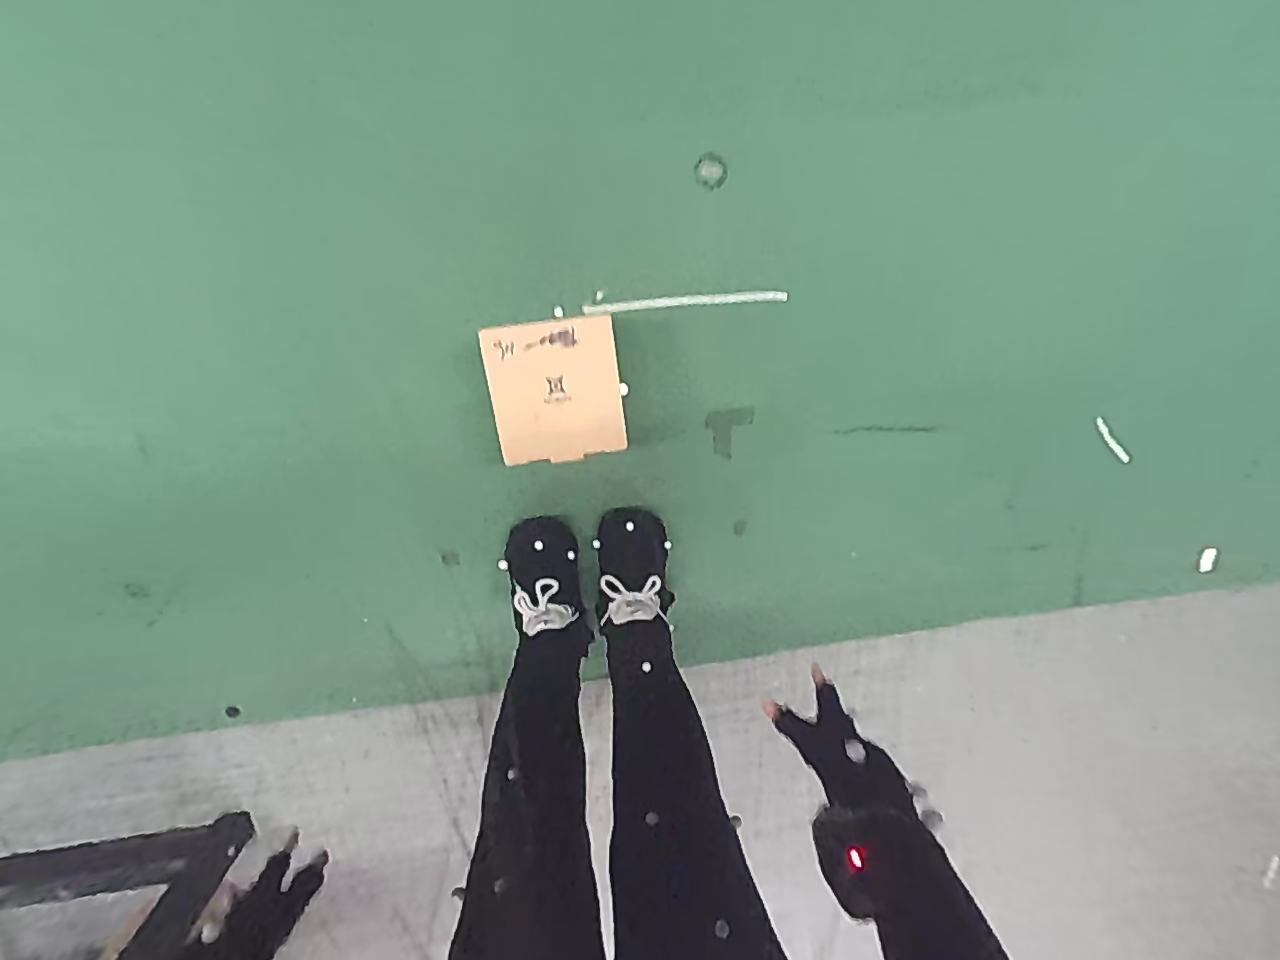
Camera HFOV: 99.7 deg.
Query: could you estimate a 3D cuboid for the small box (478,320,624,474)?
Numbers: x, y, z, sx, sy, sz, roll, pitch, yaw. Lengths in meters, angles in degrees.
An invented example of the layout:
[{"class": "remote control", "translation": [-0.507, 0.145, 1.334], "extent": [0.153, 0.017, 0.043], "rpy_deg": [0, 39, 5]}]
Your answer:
[{"class": "small box", "translation": [-0.115, -0.124, 0.758], "extent": [0.168, 0.176, 0.179], "rpy_deg": [-8, 109, -4]}]
